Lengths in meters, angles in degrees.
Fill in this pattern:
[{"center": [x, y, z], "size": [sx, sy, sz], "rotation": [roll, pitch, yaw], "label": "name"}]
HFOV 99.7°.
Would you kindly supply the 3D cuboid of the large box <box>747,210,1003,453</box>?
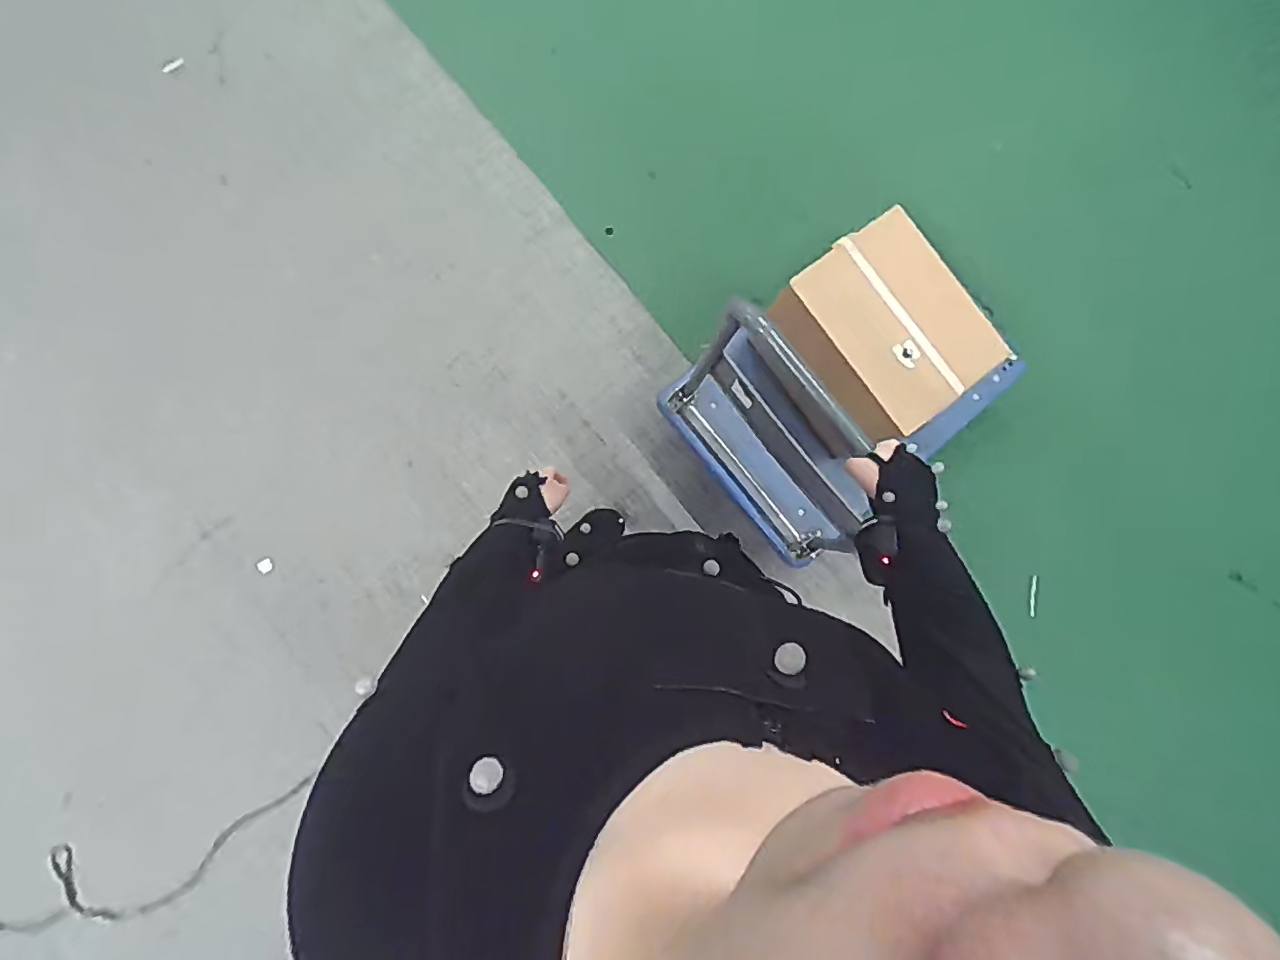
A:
[{"center": [0.529, -0.328, 1.291], "size": [0.320, 0.320, 0.408], "rotation": [-36, 88, -7], "label": "large box"}]
